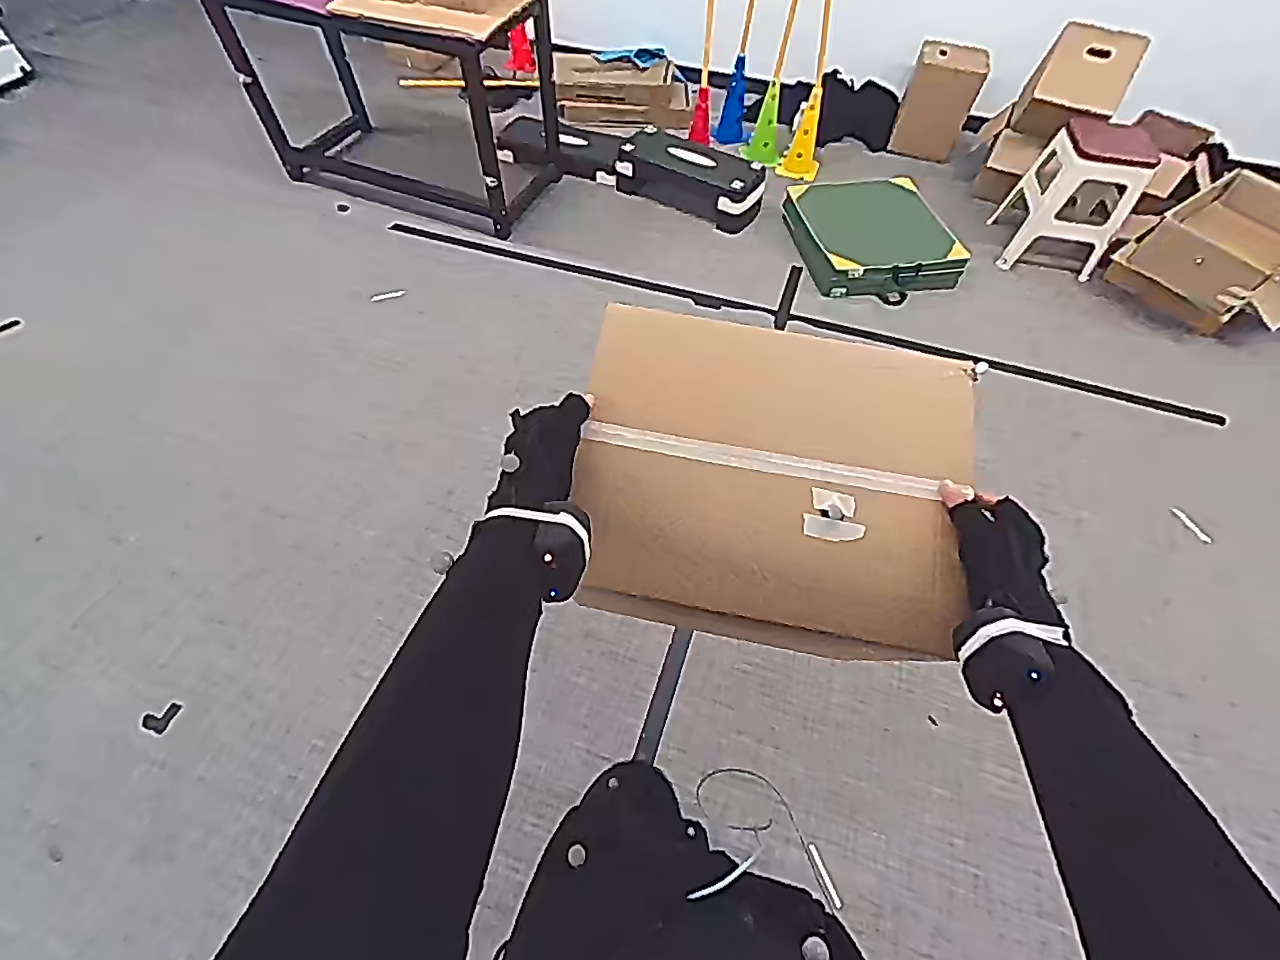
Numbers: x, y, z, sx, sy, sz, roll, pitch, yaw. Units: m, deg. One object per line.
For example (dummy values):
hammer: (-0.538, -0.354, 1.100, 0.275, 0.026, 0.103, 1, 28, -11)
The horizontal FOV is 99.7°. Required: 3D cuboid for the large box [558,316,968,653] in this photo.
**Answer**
large box: (0.138, 0.031, 0.706, 0.408, 0.320, 0.320, 11, 73, 4)
